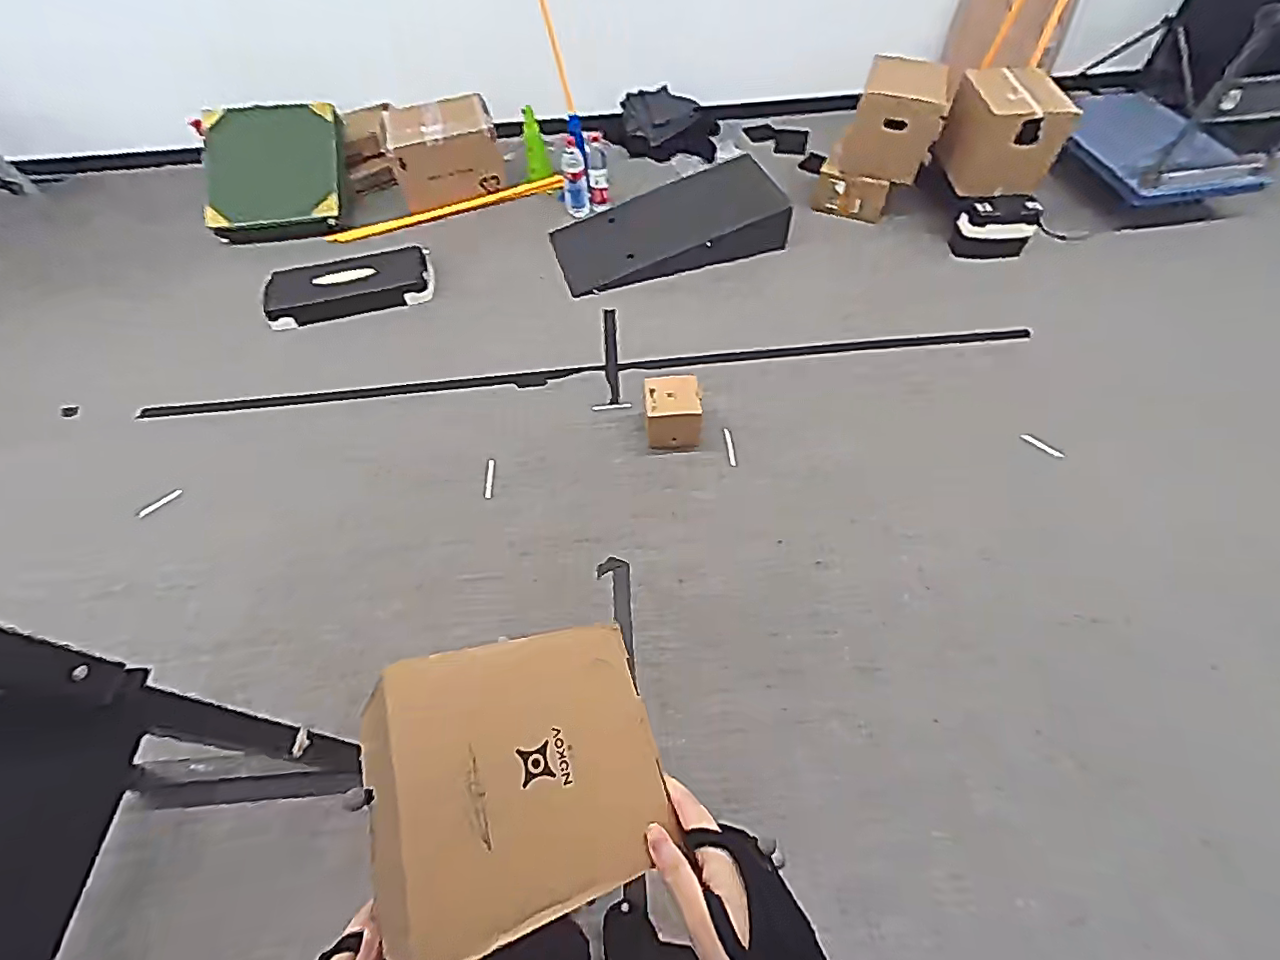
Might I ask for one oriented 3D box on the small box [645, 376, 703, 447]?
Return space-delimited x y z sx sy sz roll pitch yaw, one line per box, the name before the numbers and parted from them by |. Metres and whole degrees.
small box | 0.106 -0.224 1.787 0.179 0.176 0.168 -3 56 -1
